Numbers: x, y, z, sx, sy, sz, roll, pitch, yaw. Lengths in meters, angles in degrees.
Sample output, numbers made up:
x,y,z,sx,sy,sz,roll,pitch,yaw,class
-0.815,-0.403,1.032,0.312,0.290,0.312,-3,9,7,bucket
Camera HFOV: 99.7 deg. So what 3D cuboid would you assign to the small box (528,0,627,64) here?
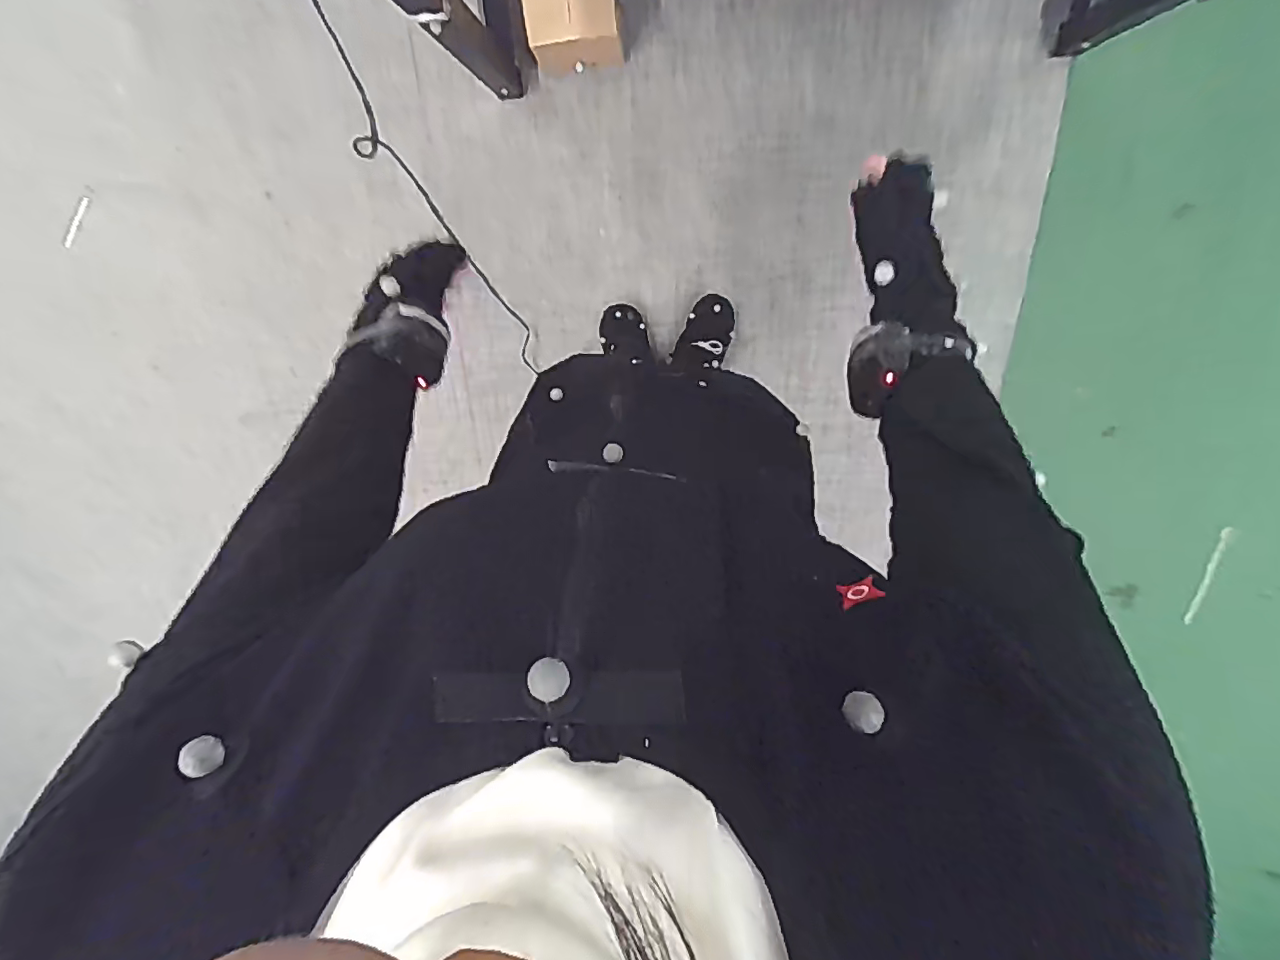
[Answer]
x,y,z,sx,sy,sz,roll,pitch,yaw,class
-0.118,-0.918,1.011,0.168,0.176,0.179,-5,113,5,small box
